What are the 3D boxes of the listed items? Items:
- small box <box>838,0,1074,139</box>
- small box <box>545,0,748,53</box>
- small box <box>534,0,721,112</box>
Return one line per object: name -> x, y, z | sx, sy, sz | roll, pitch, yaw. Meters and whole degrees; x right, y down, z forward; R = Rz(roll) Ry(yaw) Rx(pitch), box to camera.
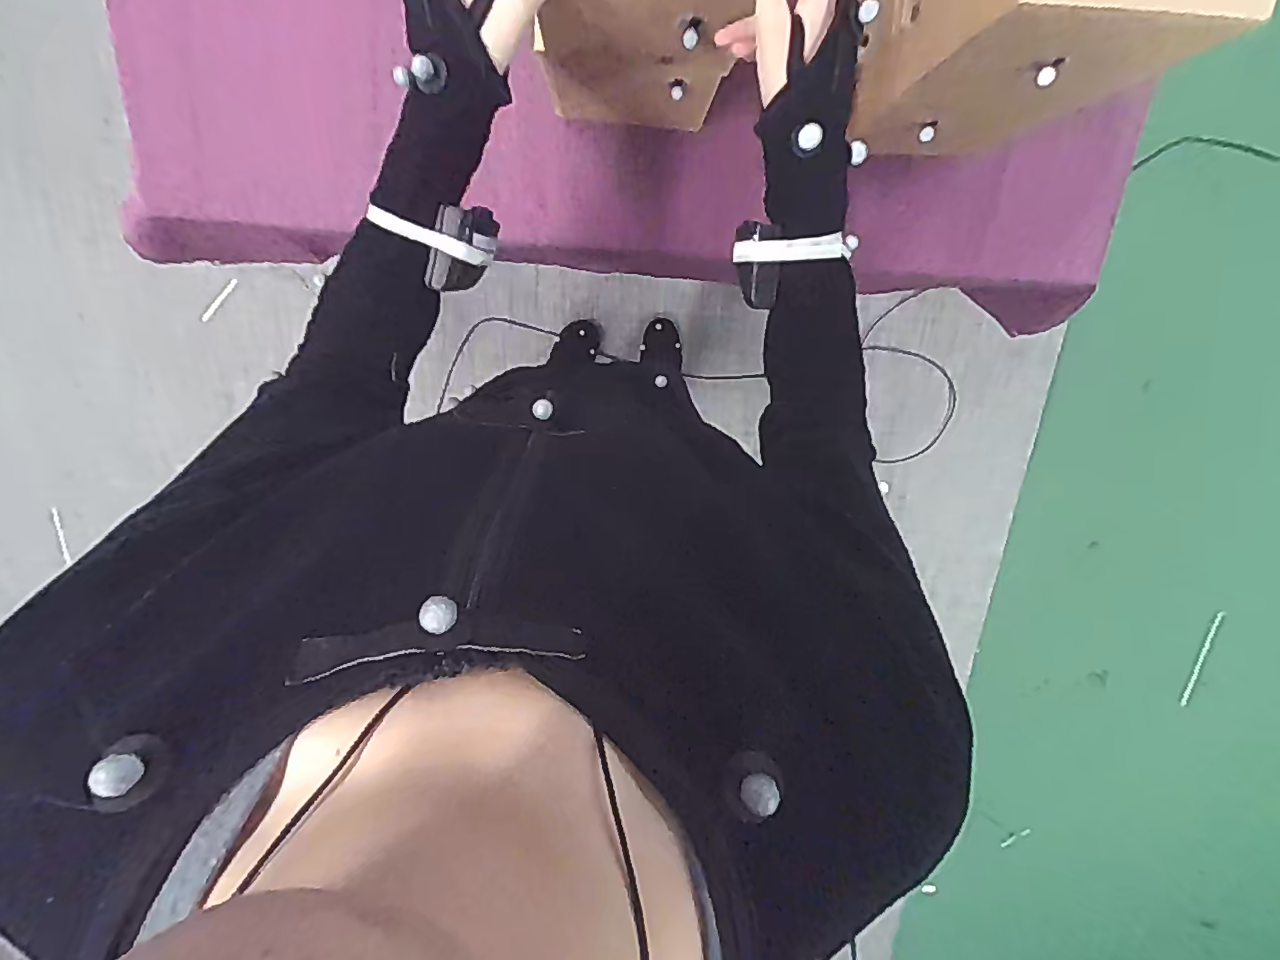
small box -> 0.322, -0.468, 0.555 | 0.179, 0.176, 0.168 | 1, 108, -1
small box -> 0.009, -0.443, 0.384 | 0.168, 0.176, 0.179 | 2, 107, -4
small box -> -0.004, -0.493, 0.538 | 0.179, 0.176, 0.168 | 3, 107, -4
